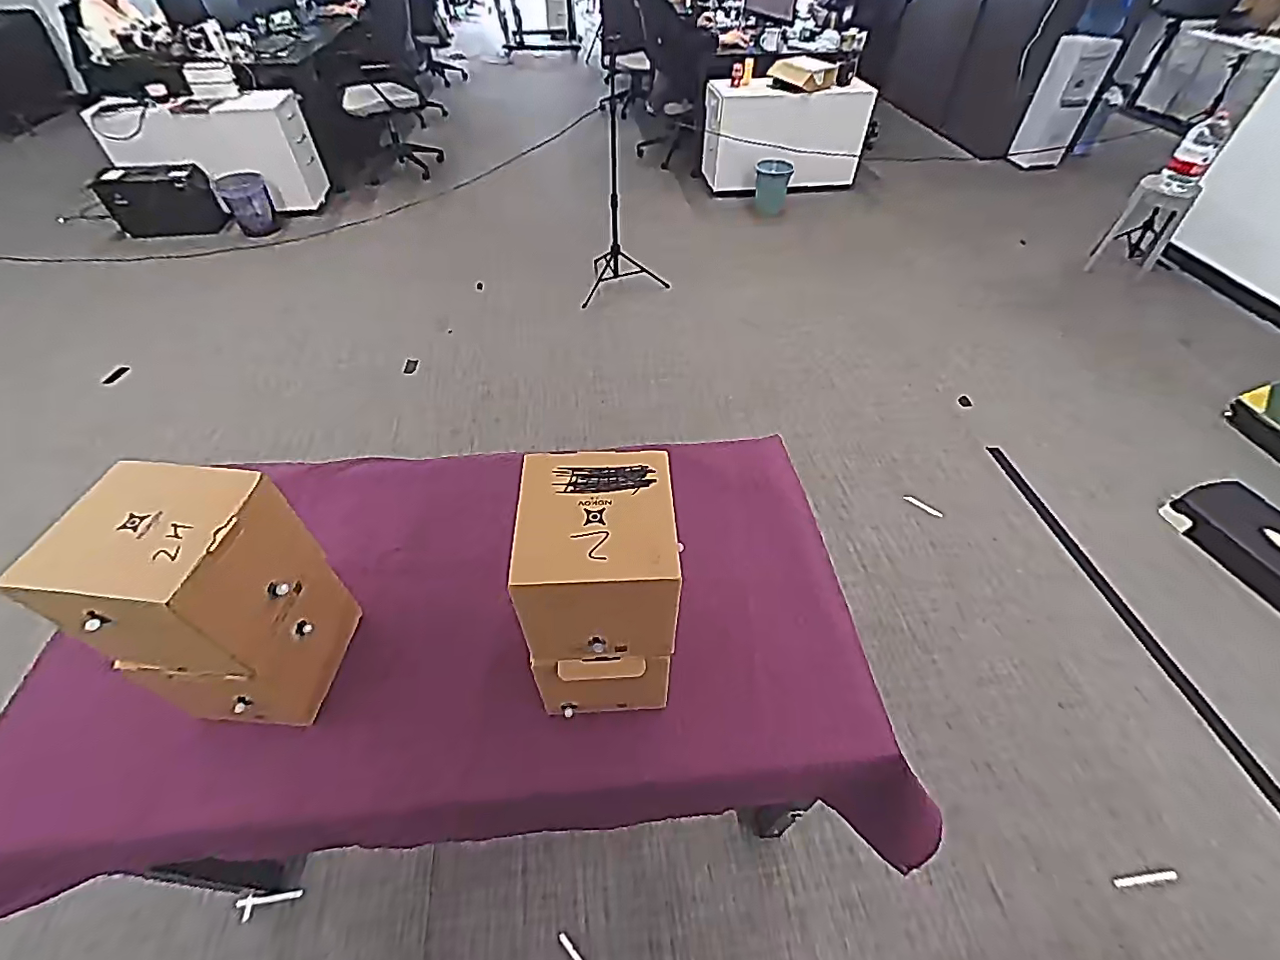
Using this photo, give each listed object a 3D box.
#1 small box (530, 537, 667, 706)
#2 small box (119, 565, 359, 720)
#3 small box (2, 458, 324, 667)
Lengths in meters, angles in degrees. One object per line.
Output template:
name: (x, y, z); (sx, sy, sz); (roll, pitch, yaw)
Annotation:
small box: (-0.051, 0.199, 0.744); (0.168, 0.176, 0.179); (-2, 47, -3)
small box: (-0.516, 0.208, 0.734); (0.168, 0.176, 0.179); (5, 48, 2)
small box: (-0.508, 0.097, 0.613); (0.179, 0.176, 0.168); (6, 49, 3)
